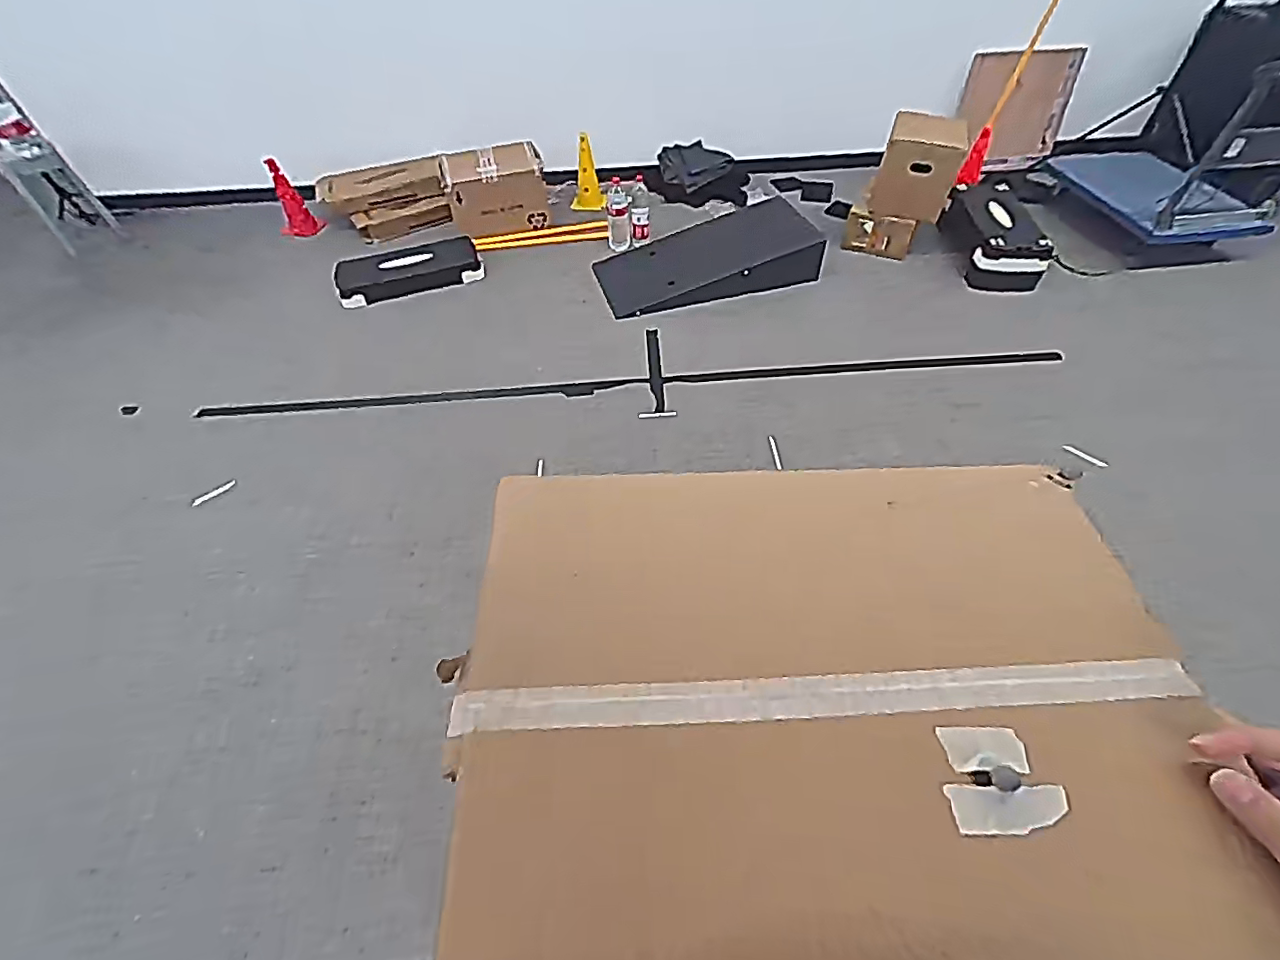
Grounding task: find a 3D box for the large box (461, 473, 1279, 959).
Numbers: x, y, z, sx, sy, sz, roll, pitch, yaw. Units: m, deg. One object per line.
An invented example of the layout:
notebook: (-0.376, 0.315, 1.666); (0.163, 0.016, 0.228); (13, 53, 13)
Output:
large box: (0.104, 0.211, 0.431); (0.408, 0.320, 0.320); (-1, 54, -4)
